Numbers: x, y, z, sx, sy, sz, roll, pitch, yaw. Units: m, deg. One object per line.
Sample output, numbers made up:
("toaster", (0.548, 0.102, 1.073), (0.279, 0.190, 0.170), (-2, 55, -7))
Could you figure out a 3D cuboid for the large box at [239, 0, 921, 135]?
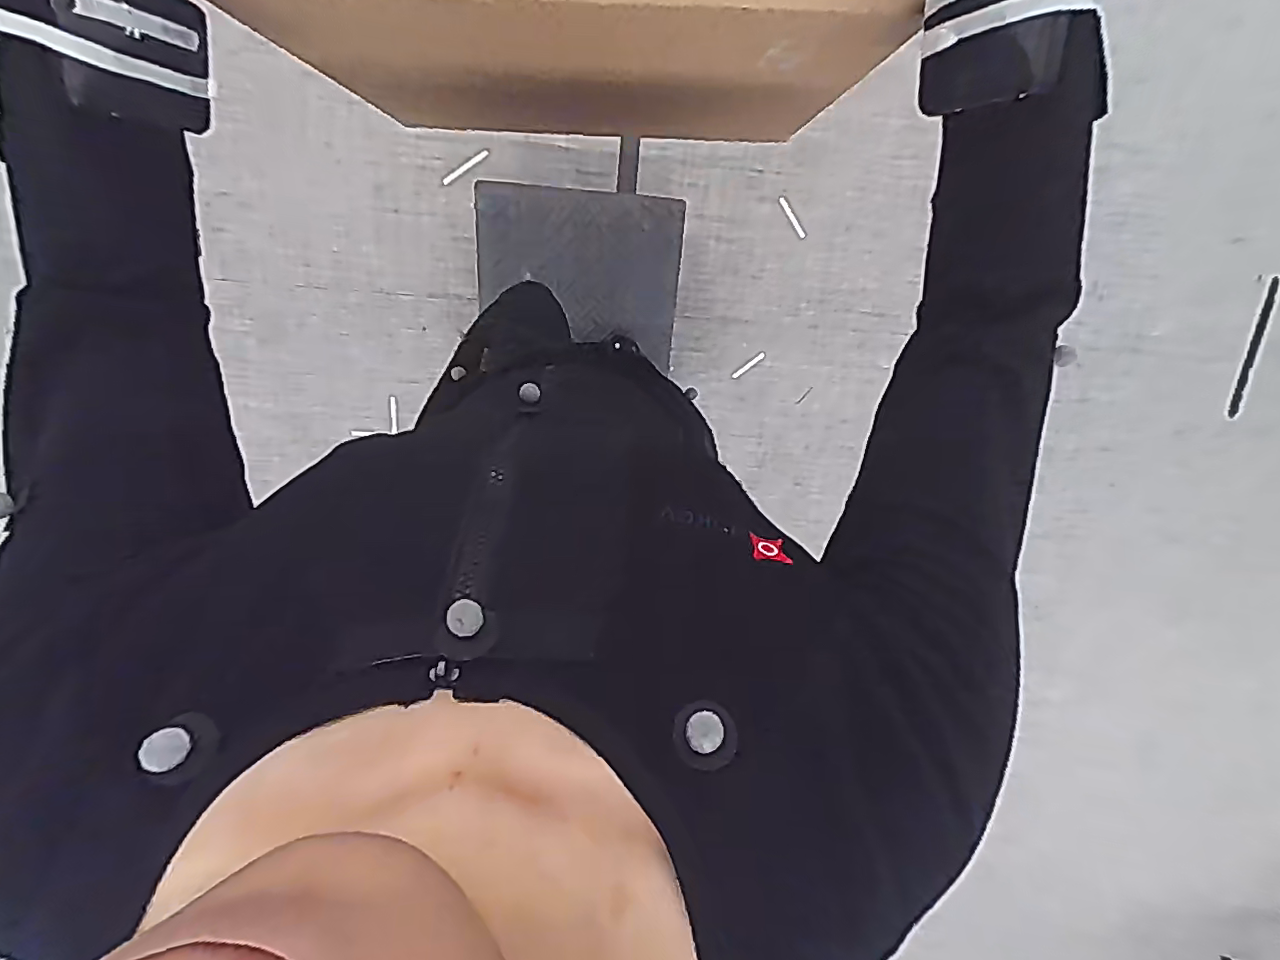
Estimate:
("large box", (-0.039, -0.459, 0.383), (0.408, 0.320, 0.320), (0, 111, -2))
